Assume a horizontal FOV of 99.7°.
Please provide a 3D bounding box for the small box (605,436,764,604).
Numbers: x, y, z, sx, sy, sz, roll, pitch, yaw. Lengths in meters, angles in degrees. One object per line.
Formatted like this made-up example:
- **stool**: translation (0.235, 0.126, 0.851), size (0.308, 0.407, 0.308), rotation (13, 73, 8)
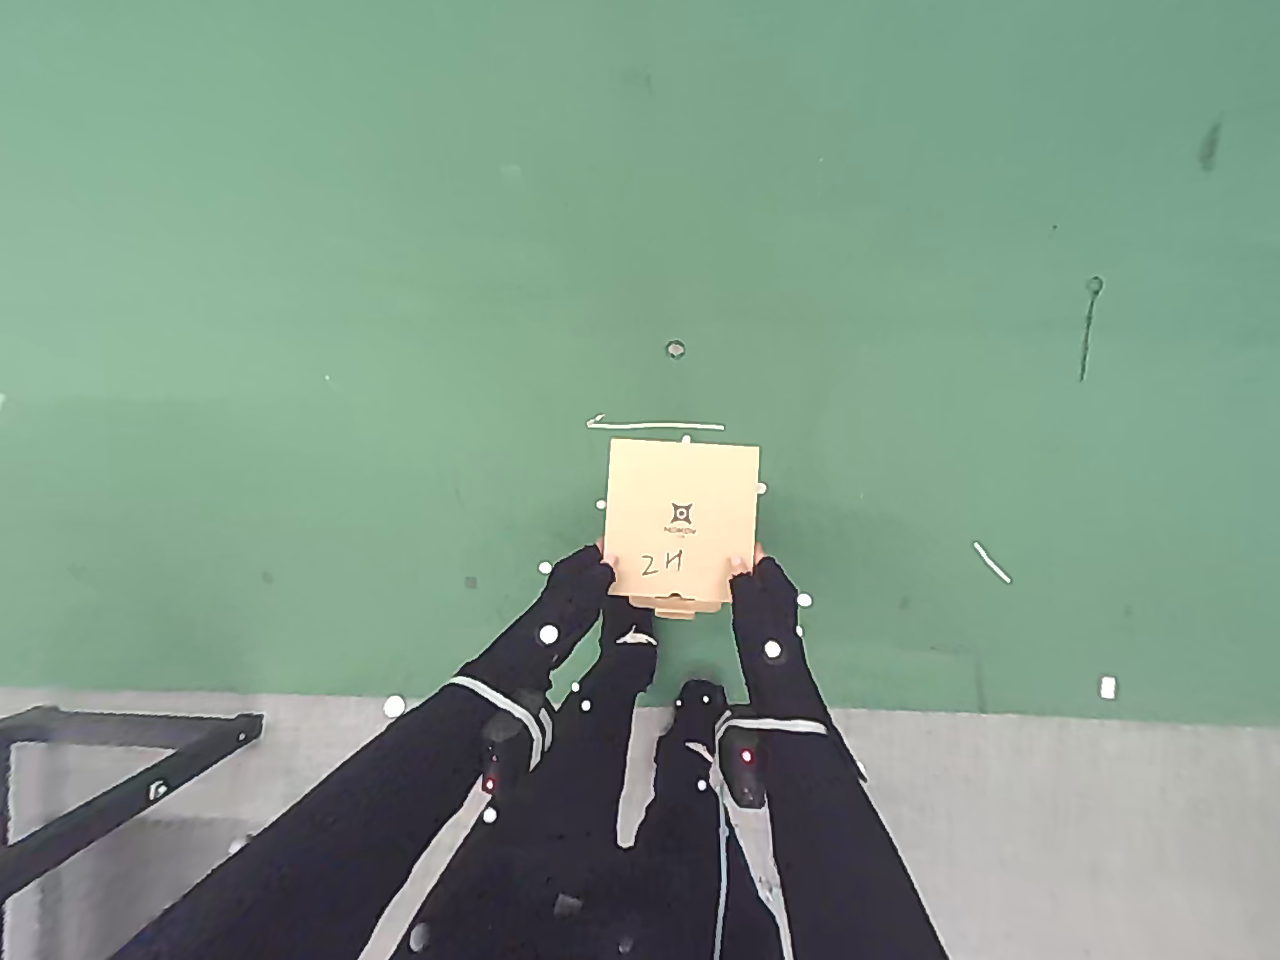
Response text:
- **small box**: translation (0.050, 0.045, 0.673), size (0.168, 0.176, 0.179), rotation (4, 90, 2)
